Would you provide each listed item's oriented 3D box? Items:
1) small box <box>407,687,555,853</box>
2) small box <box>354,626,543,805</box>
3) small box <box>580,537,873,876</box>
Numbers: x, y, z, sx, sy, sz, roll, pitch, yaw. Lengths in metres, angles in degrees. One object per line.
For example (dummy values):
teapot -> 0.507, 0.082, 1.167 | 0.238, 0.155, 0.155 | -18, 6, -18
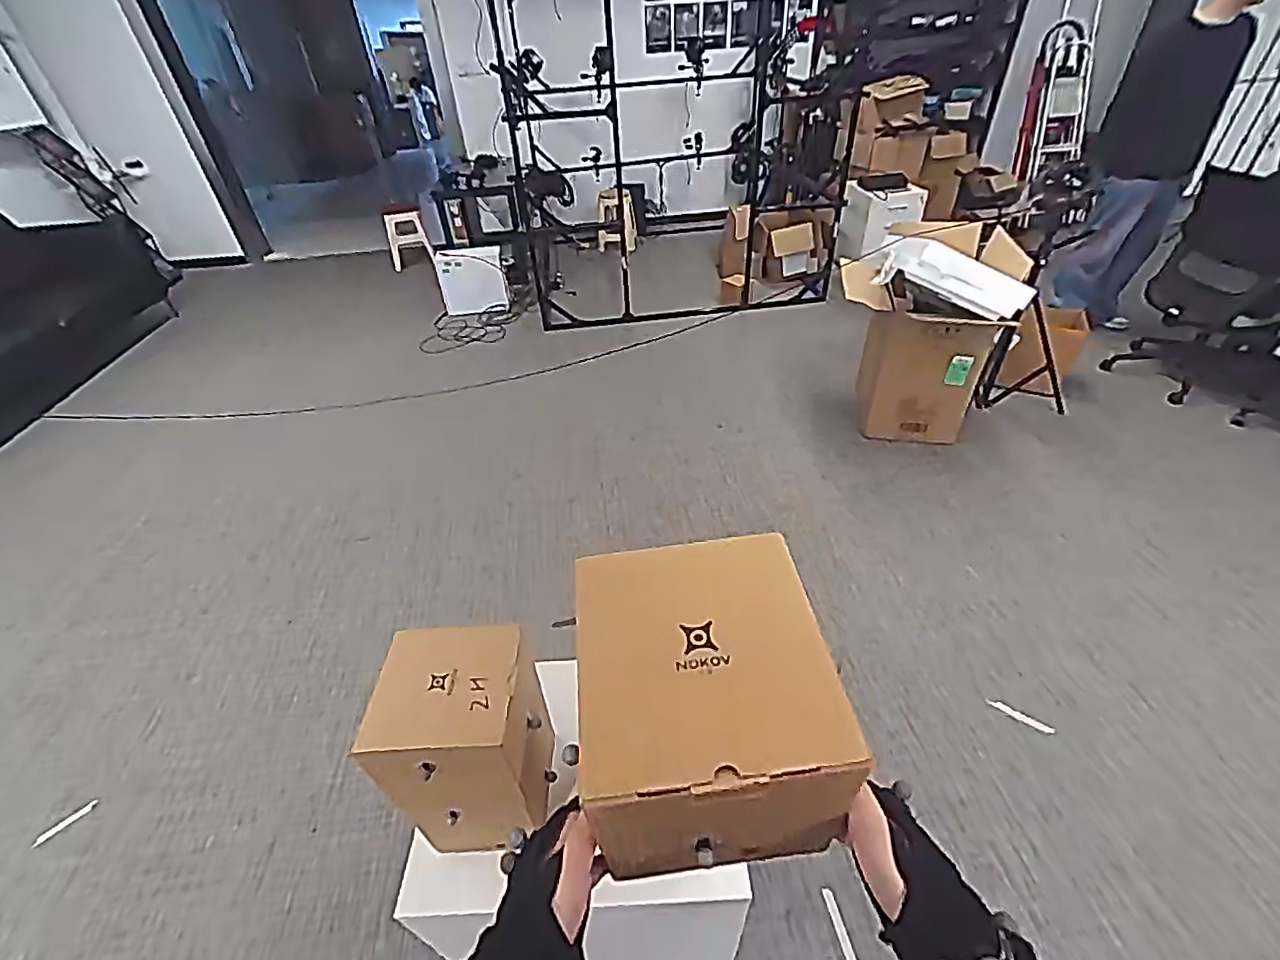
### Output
small box -> -0.229, 0.442, 0.832 | 0.168, 0.176, 0.179 | -3, 38, 1
small box -> -0.238, 0.317, 0.725 | 0.179, 0.176, 0.168 | -3, 40, 0
small box -> 0.045, 0.170, 0.414 | 0.168, 0.176, 0.179 | -7, 43, -2
